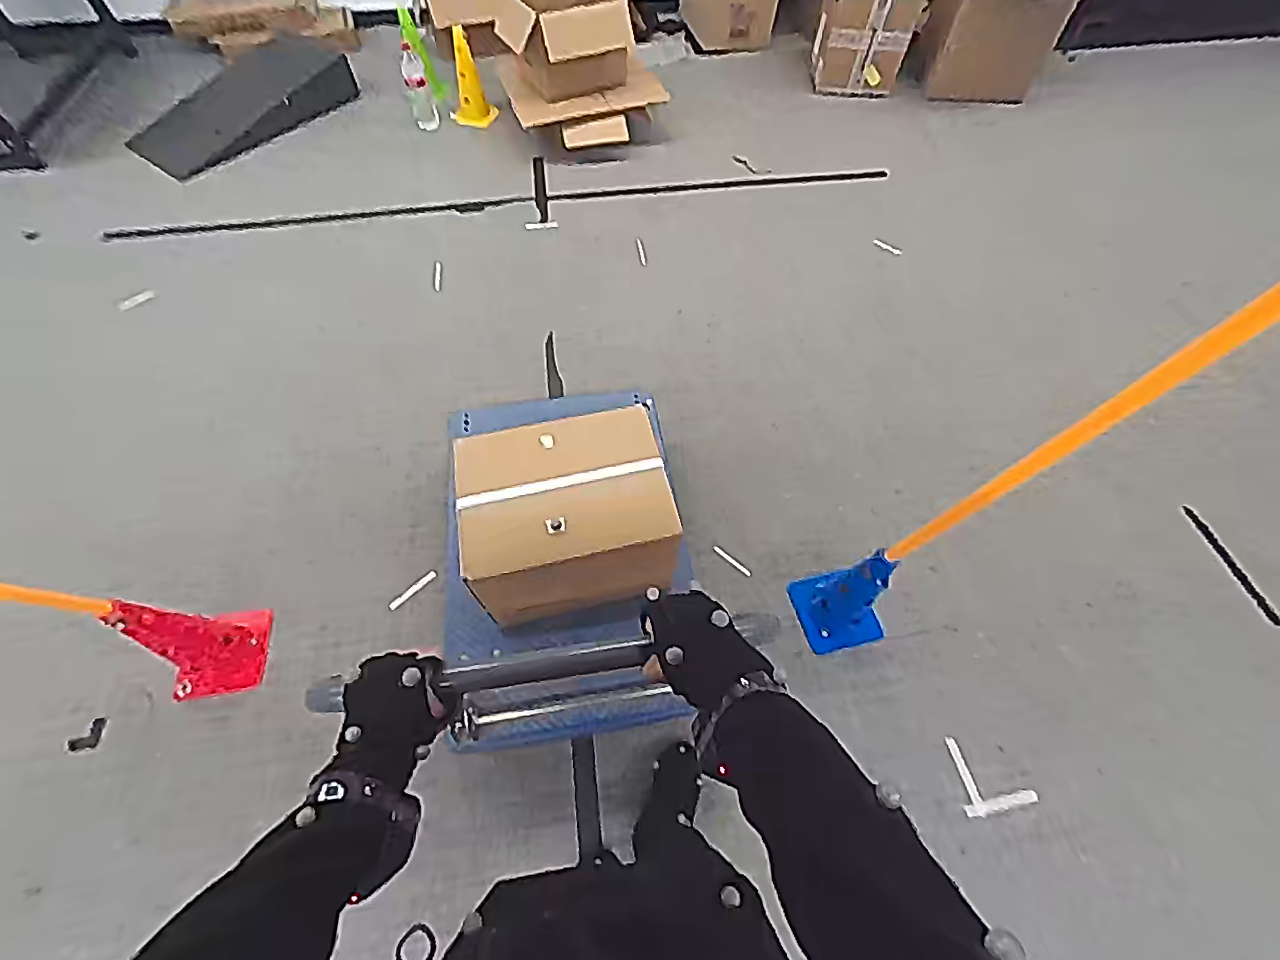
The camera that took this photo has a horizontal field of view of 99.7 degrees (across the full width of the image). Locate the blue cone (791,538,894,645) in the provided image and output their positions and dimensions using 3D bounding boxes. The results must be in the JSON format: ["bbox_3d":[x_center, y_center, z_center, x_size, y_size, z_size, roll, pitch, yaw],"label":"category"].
[{"bbox_3d":[0.516,0.244,1.284,0.193,0.380,0.192,-10,59,-8],"label":"blue cone"}]
